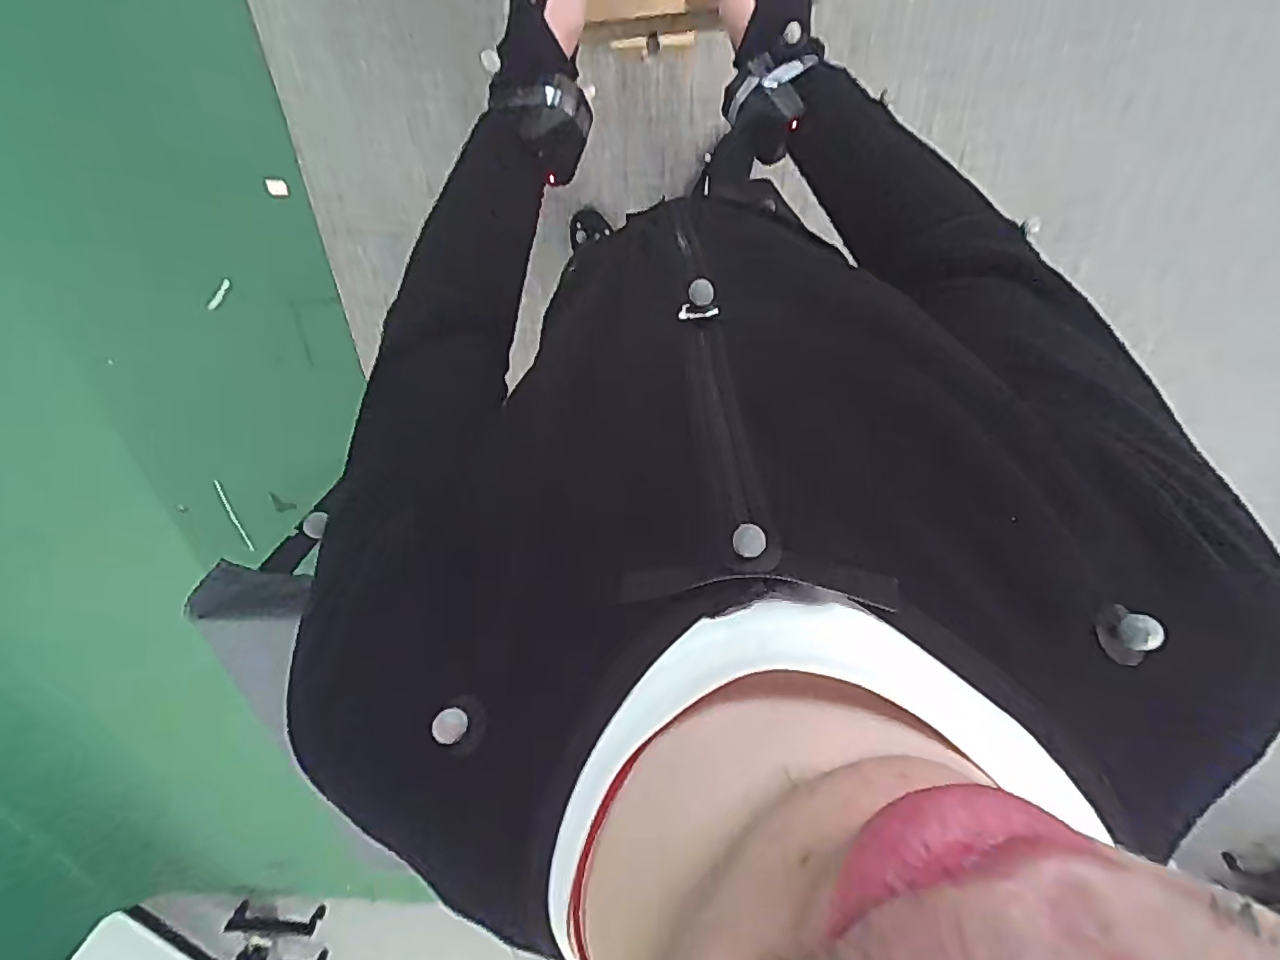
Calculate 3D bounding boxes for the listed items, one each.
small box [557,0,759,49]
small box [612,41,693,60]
[{"bbox_3d":[0.008,-0.510,0.493,0.179,0.176,0.168,-5,124,1],"label":"small box"},{"bbox_3d":[0.025,-0.938,1.051,0.168,0.176,0.179,3,123,3],"label":"small box"}]
